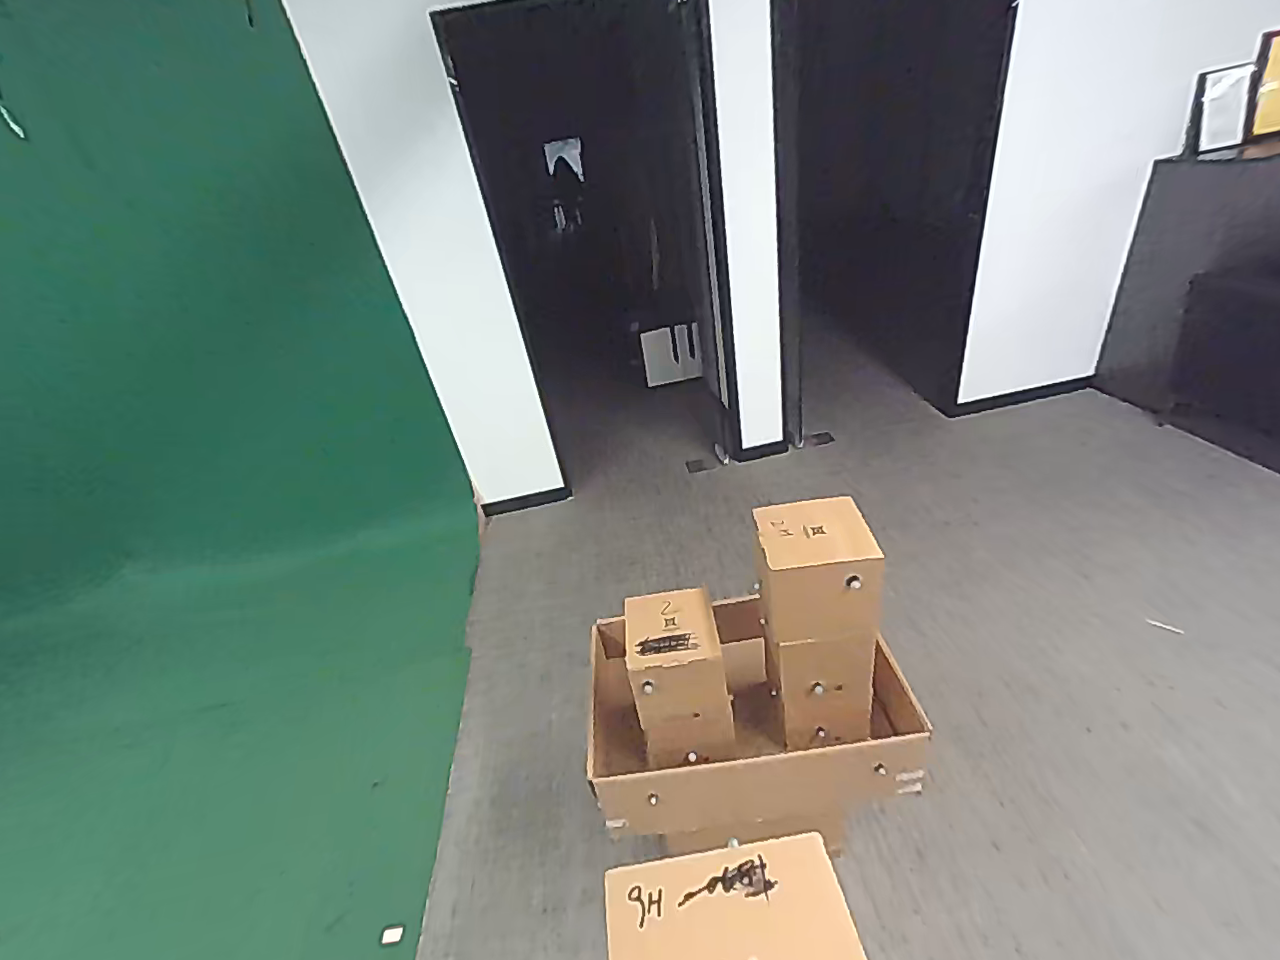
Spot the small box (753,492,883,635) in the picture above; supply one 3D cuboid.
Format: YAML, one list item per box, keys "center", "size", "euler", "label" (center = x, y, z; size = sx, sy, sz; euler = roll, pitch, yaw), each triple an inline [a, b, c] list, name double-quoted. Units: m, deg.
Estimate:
- center: [0.297, 0.144, 0.930]
  size: [0.179, 0.176, 0.168]
  euler: [-9, 32, 7]
  label: "small box"

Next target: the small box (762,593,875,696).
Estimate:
- center: [0.327, 0.277, 1.022]
  size: [0.168, 0.176, 0.179]
  euler: [-9, 33, 5]
  label: "small box"

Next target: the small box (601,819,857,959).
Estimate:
- center: [0.068, 0.384, 0.386]
  size: [0.168, 0.176, 0.179]
  euler: [-9, 34, -2]
  label: "small box"
